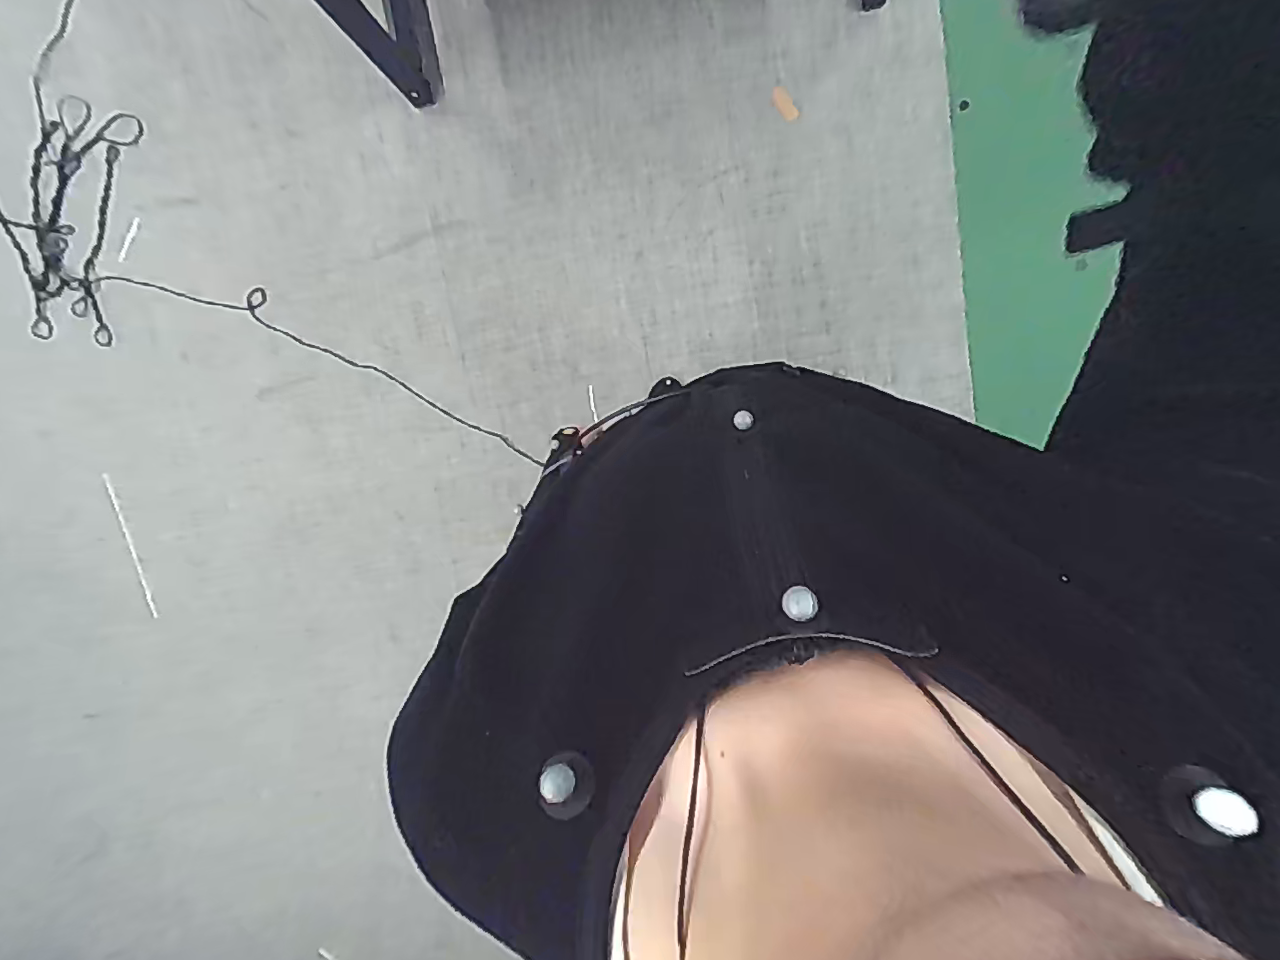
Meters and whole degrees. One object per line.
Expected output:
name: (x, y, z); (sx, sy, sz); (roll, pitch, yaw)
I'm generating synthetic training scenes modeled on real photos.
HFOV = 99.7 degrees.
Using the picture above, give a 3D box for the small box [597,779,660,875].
small box: (-0.030, 0.997, 1.567); (0.168, 0.176, 0.179); (-2, 99, 6)
